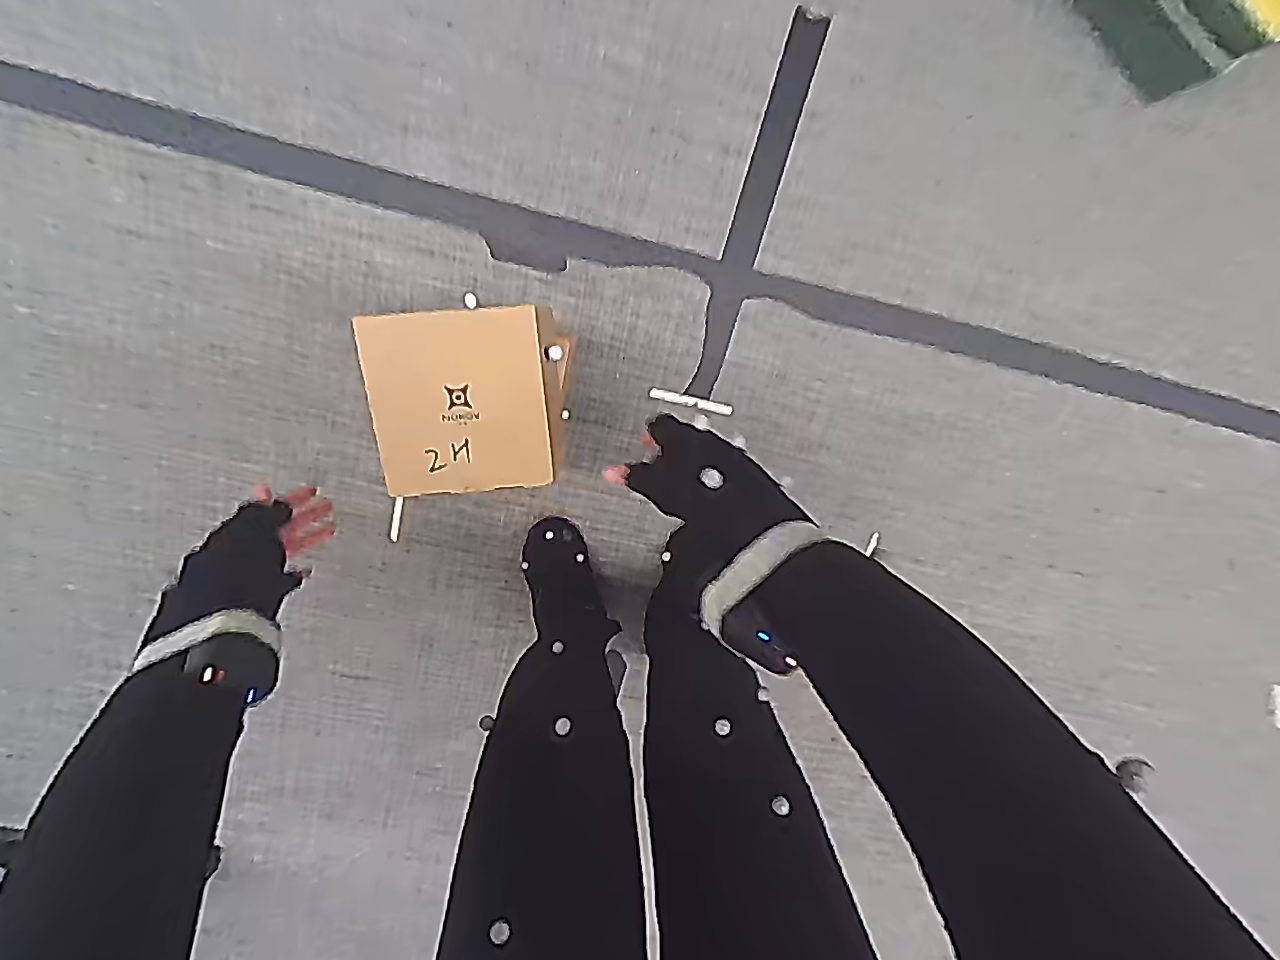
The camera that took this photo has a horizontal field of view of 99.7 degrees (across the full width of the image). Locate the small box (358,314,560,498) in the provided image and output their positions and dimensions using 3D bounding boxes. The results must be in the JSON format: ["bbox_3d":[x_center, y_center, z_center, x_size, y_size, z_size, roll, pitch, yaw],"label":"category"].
[{"bbox_3d":[-0.179,-0.090,0.593,0.168,0.176,0.179,-1,109,-2],"label":"small box"}]

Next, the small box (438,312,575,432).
[{"bbox_3d":[-0.188,-0.127,0.754,0.168,0.176,0.179,11,106,-7],"label":"small box"}]
